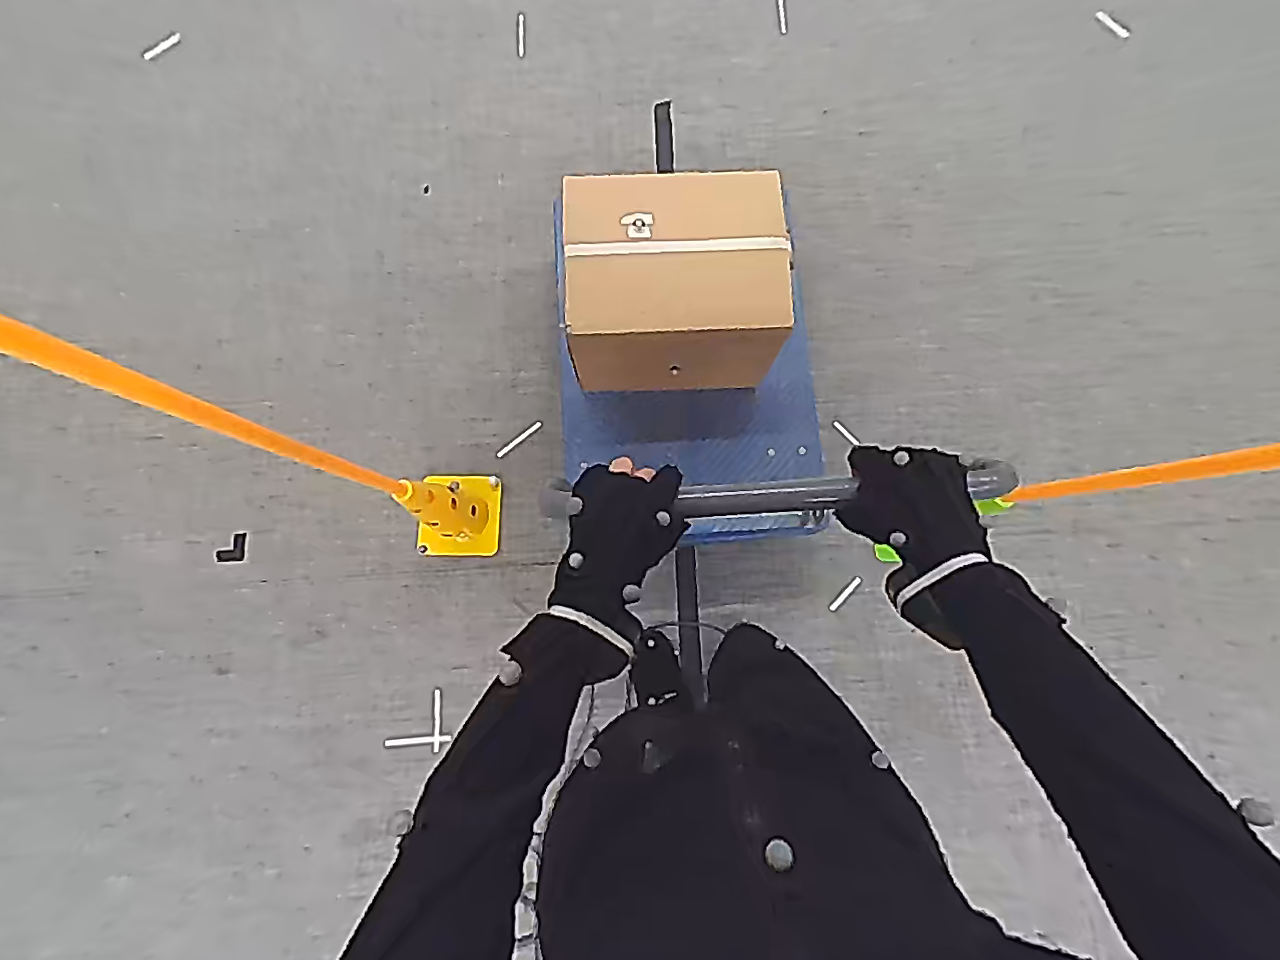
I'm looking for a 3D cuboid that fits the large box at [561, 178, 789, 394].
[{"bbox_3d":[0.062,-0.378,1.128,0.408,0.320,0.320,-2,80,0],"label":"large box"}]

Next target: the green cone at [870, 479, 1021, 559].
[{"bbox_3d":[0.684,0.064,1.186,0.202,0.368,0.200,1,79,-1],"label":"green cone"}]
